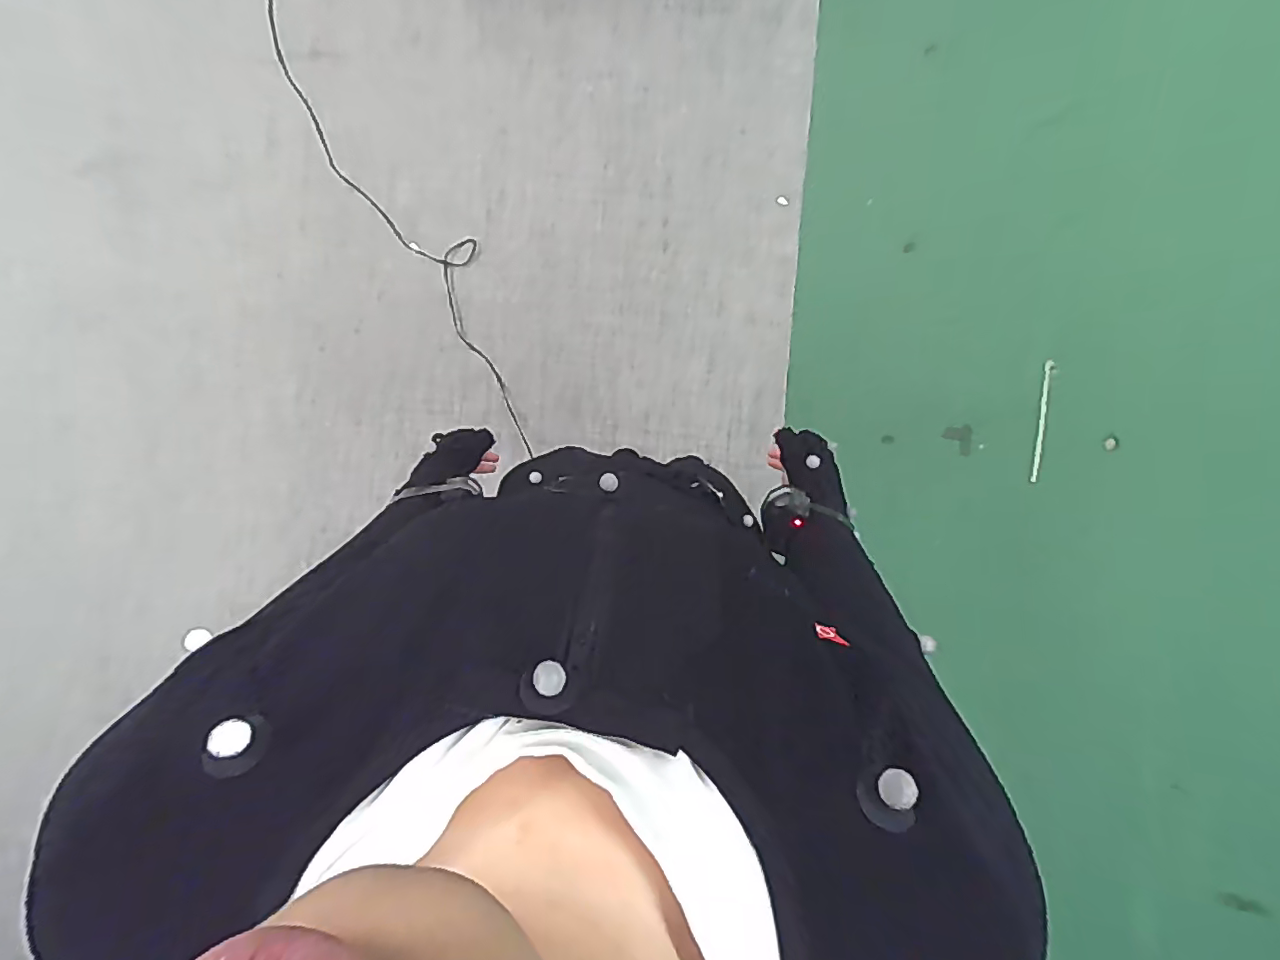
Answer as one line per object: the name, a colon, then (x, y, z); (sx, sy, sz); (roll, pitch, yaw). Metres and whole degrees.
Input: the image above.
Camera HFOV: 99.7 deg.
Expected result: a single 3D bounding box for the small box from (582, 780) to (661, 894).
small box: (-0.045, 0.895, 1.376); (0.168, 0.176, 0.179); (-12, 94, 2)
